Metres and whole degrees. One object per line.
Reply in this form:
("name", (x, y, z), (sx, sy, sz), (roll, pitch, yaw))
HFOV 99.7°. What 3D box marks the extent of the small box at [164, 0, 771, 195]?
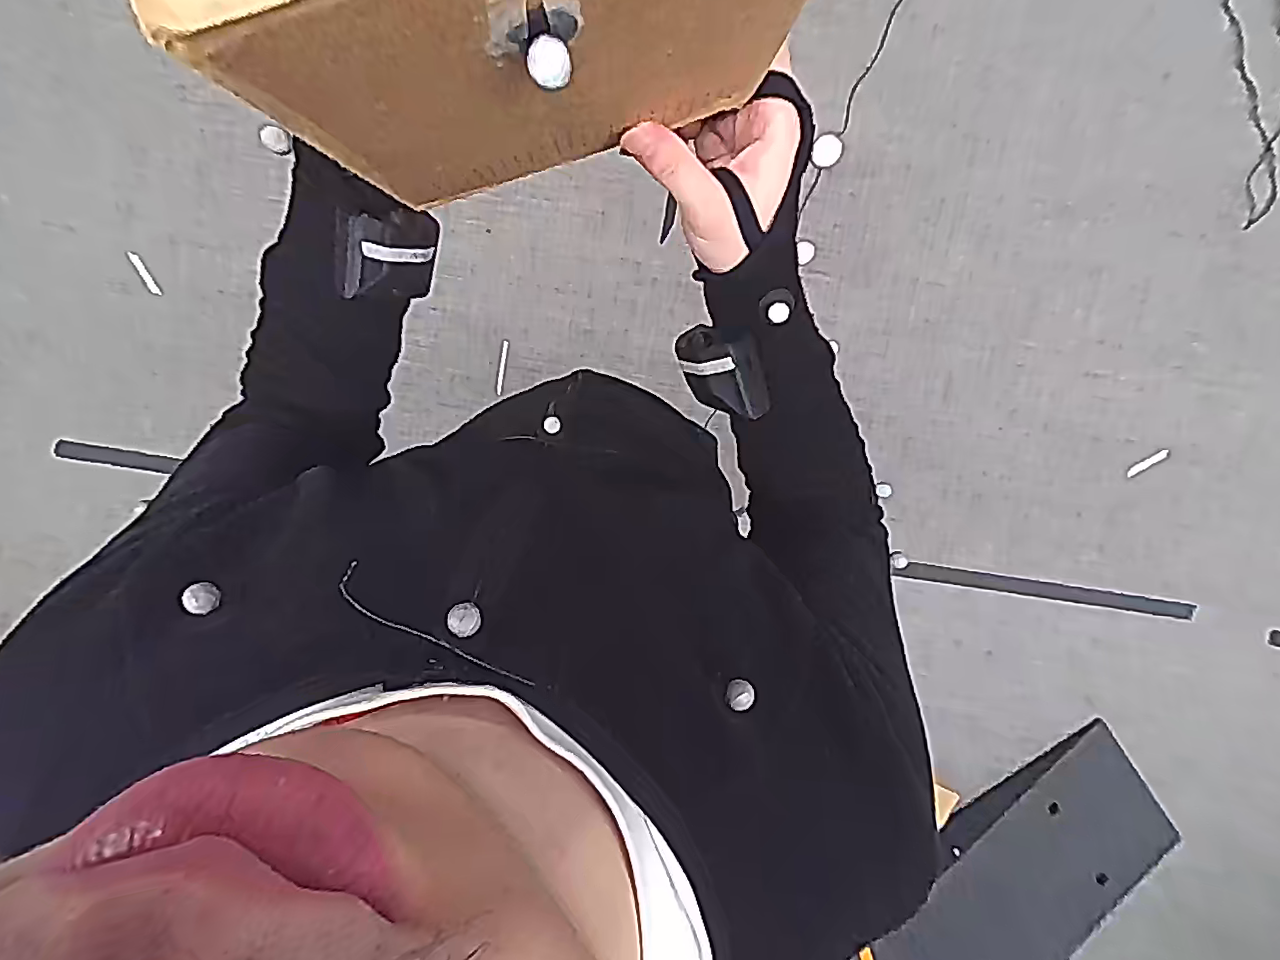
("small box", (-0.050, -0.220, 0.182), (0.179, 0.176, 0.168), (-17, 106, 1))
